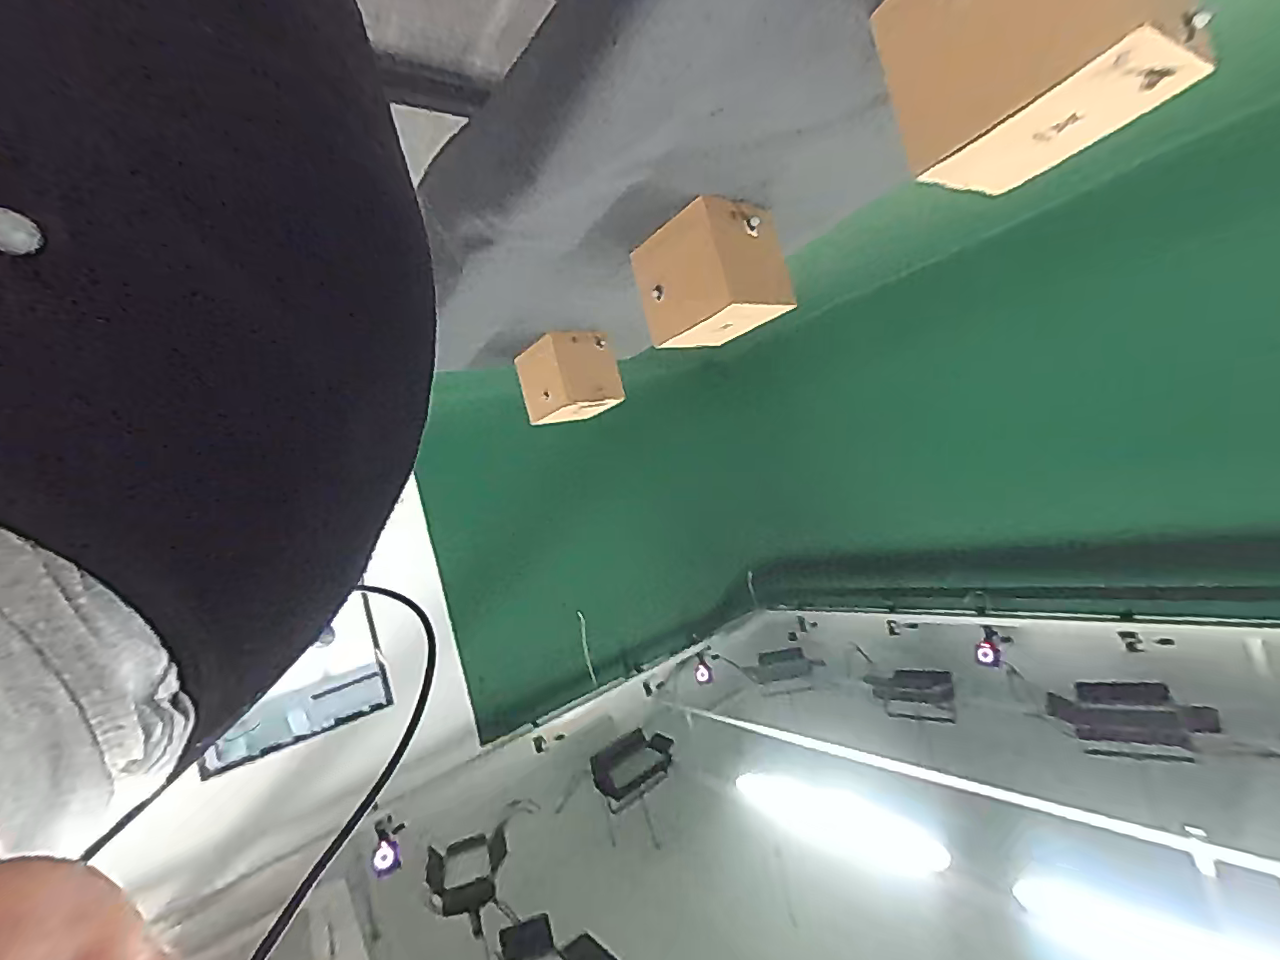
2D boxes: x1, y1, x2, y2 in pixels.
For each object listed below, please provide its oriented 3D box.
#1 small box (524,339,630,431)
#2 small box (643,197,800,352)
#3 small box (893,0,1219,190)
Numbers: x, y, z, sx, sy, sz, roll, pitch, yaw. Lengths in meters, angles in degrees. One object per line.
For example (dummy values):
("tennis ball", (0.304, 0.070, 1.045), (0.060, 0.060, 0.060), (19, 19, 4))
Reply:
("small box", (-0.155, -0.226, 1.281), (0.168, 0.176, 0.179), (-13, 178, -40))
("small box", (0.123, -0.321, 0.874), (0.168, 0.176, 0.179), (-15, 177, -39))
("small box", (0.352, -0.393, 0.480), (0.168, 0.176, 0.179), (-15, 179, -31))
